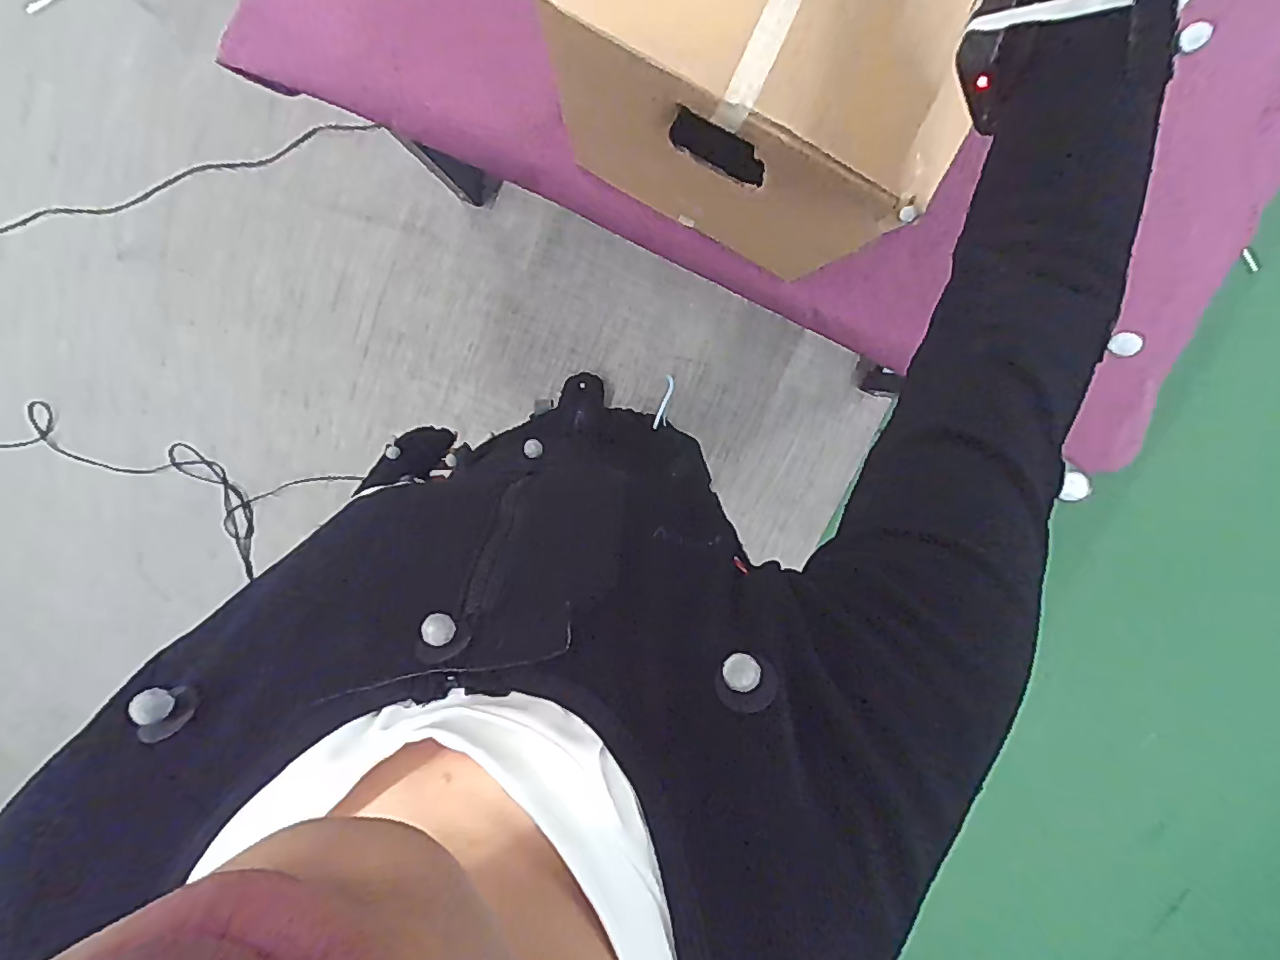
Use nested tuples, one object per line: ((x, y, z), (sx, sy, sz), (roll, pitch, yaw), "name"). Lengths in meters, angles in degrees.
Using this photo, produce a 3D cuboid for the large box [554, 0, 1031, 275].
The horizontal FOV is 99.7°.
((0.154, -0.470, 0.510), (0.320, 0.320, 0.408), (26, 100, -6), "large box")
